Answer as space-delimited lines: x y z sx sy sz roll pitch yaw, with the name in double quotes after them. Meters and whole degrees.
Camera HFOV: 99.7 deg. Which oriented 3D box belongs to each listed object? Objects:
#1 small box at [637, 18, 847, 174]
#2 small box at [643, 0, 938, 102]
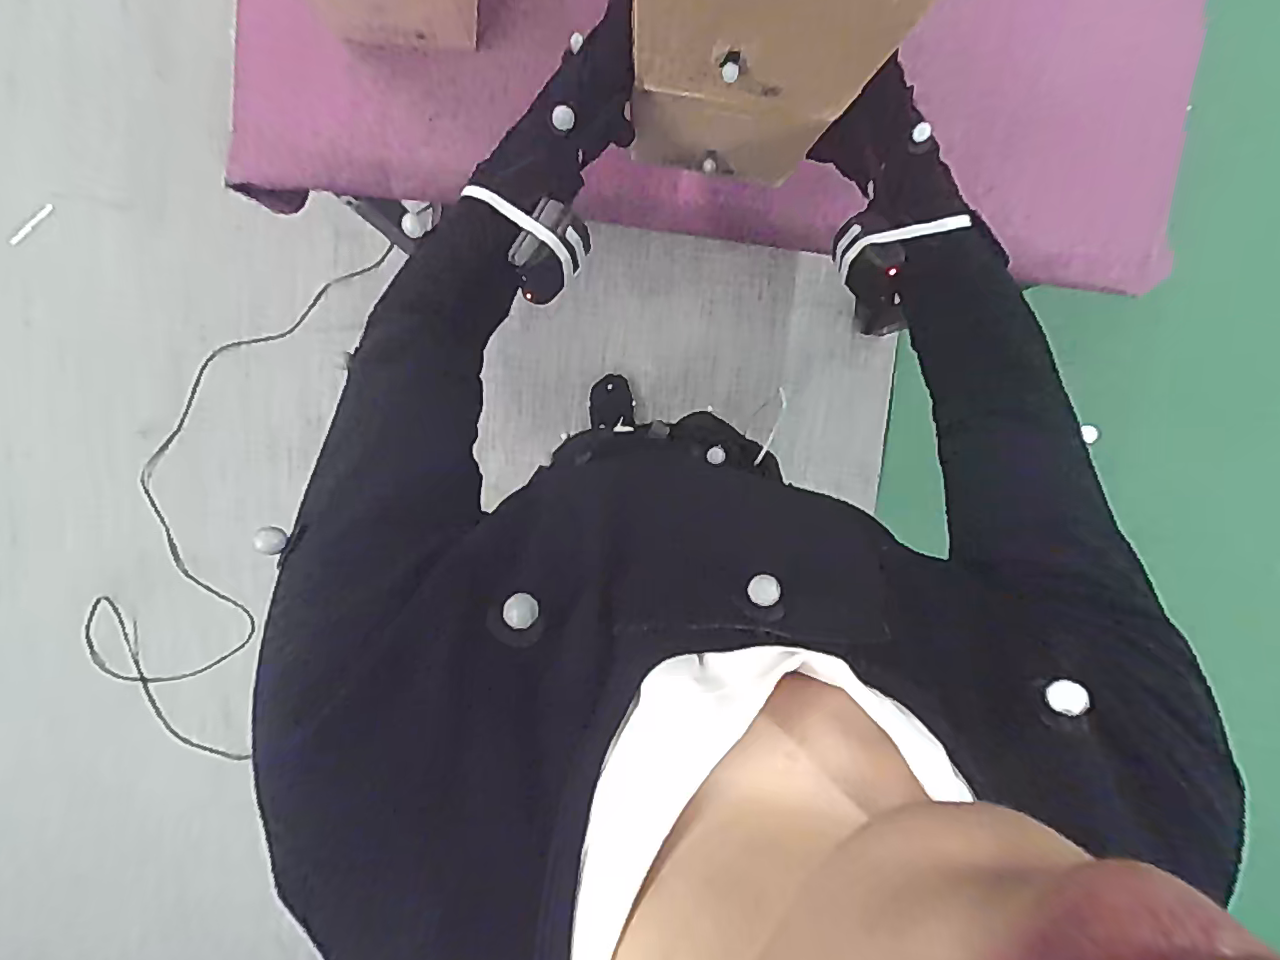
0.091 -0.401 0.473 0.168 0.176 0.179 9 103 -3 "small box"
0.094 -0.365 0.314 0.168 0.176 0.179 8 104 -3 "small box"
